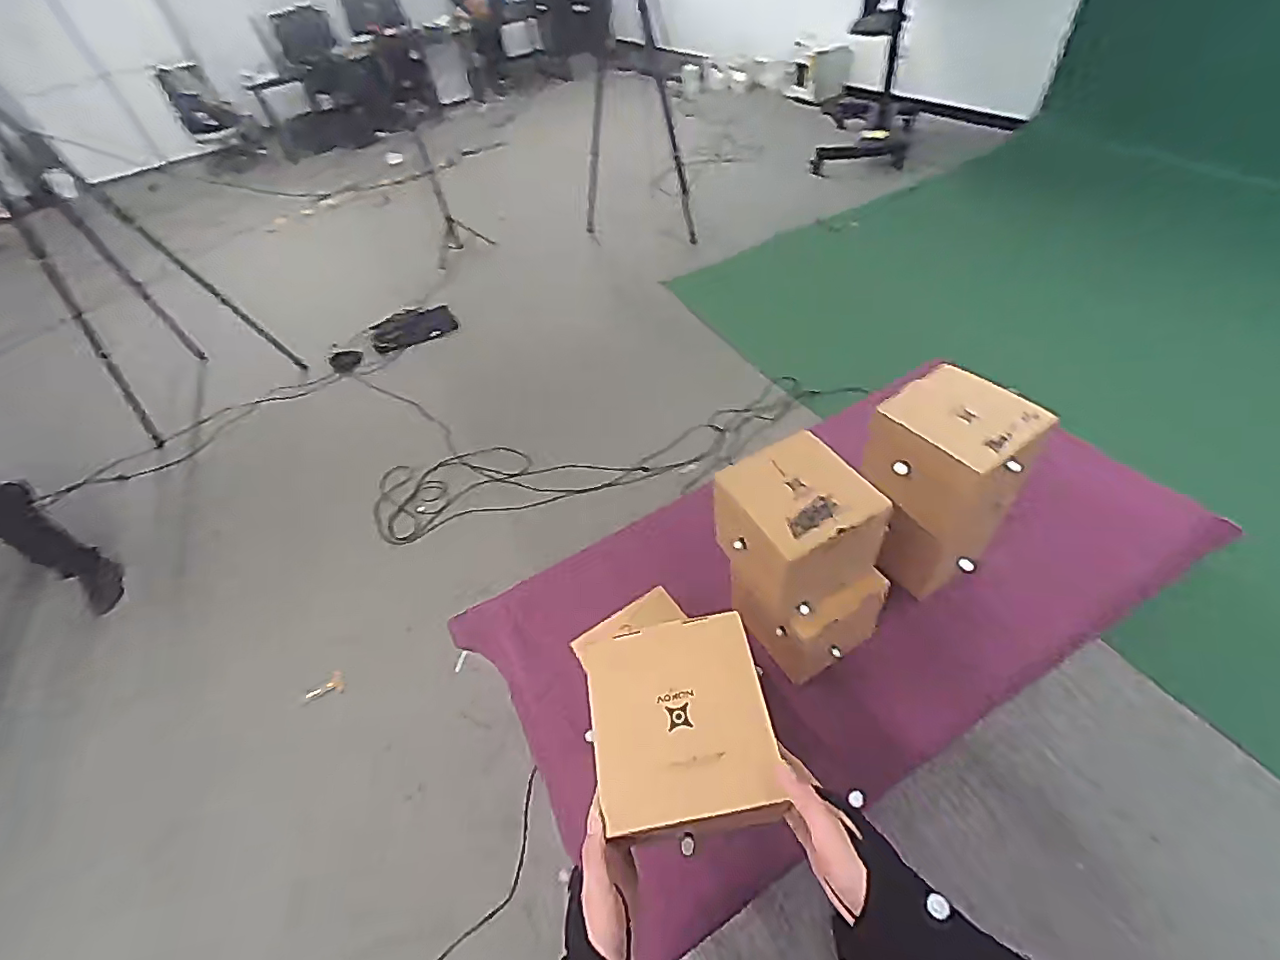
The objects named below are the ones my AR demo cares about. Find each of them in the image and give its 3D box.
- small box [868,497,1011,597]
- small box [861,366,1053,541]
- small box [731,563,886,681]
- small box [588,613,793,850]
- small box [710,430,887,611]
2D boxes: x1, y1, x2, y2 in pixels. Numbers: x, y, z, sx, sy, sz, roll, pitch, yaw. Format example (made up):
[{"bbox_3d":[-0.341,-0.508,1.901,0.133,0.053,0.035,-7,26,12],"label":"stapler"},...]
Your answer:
[{"bbox_3d":[0.489,0.070,0.949,0.168,0.176,0.179,-30,50,-16],"label":"small box"},{"bbox_3d":[0.467,-0.040,0.830,0.168,0.176,0.179,-31,49,-16],"label":"small box"},{"bbox_3d":[0.261,0.191,0.885,0.168,0.176,0.179,-29,50,-15],"label":"small box"},{"bbox_3d":[0.046,0.264,0.562,0.168,0.176,0.179,-11,52,1],"label":"small box"},{"bbox_3d":[0.218,0.066,0.782,0.168,0.176,0.179,-25,48,-13],"label":"small box"}]
